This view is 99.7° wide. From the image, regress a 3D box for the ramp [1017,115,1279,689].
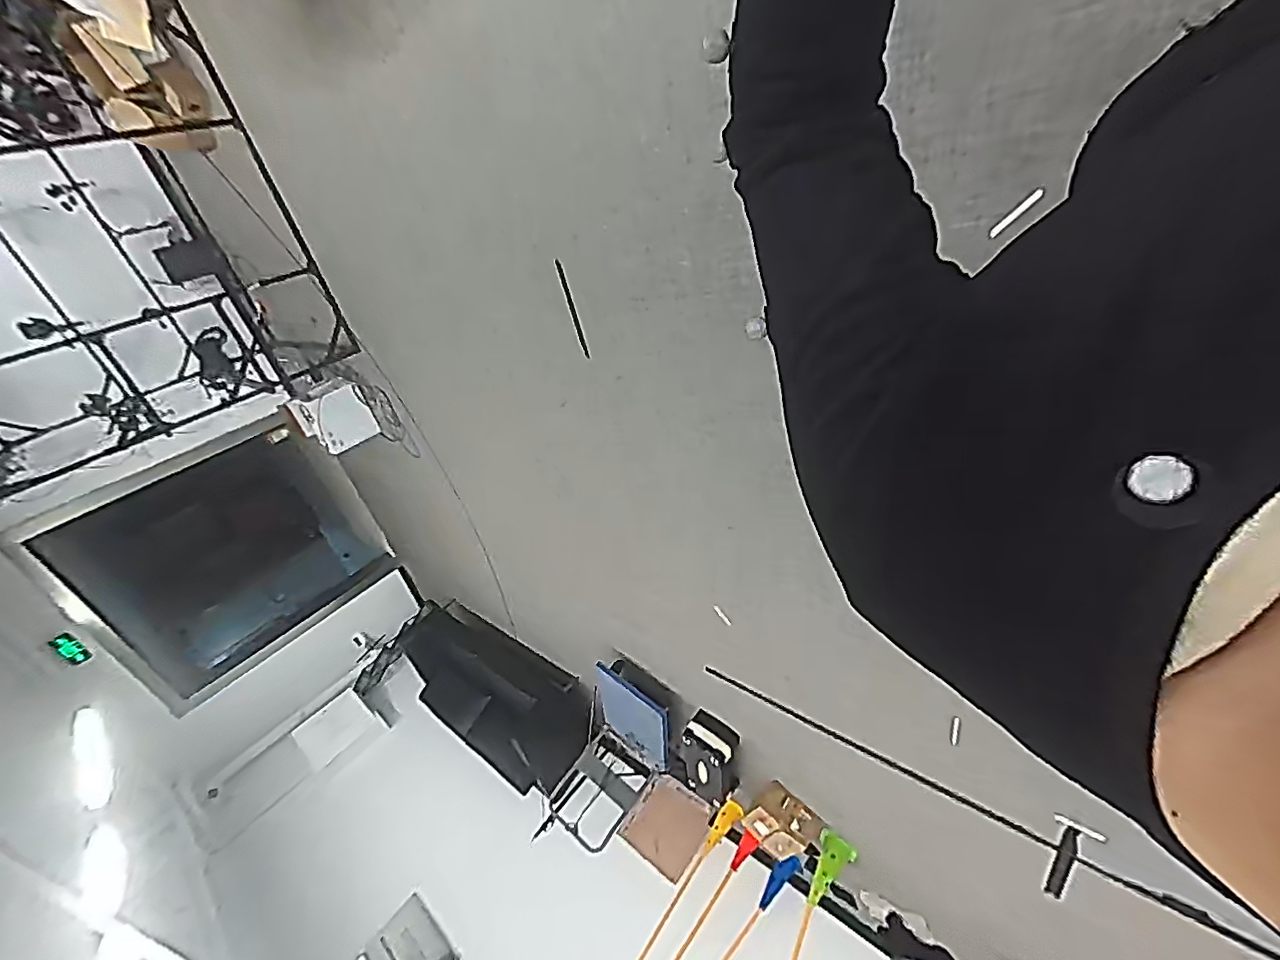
[{"bbox_3d":[1.050,-0.092,0.987,0.509,0.206,0.991,14,130,43],"label":"ramp"}]
